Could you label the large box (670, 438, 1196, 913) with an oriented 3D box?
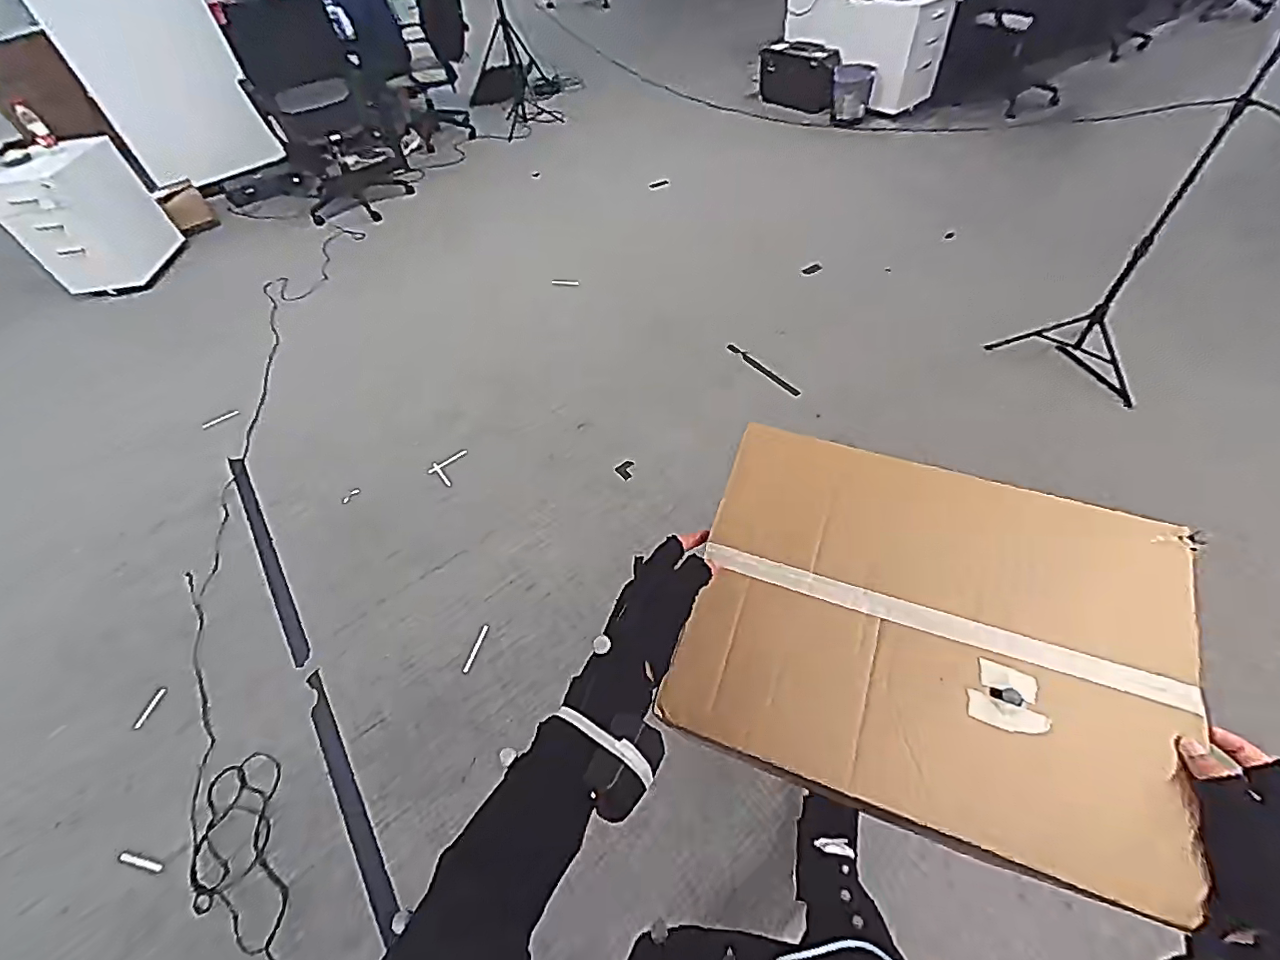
[{"bbox_3d":[0.274,0.198,0.621,0.408,0.320,0.320,16,67,15],"label":"large box"}]
